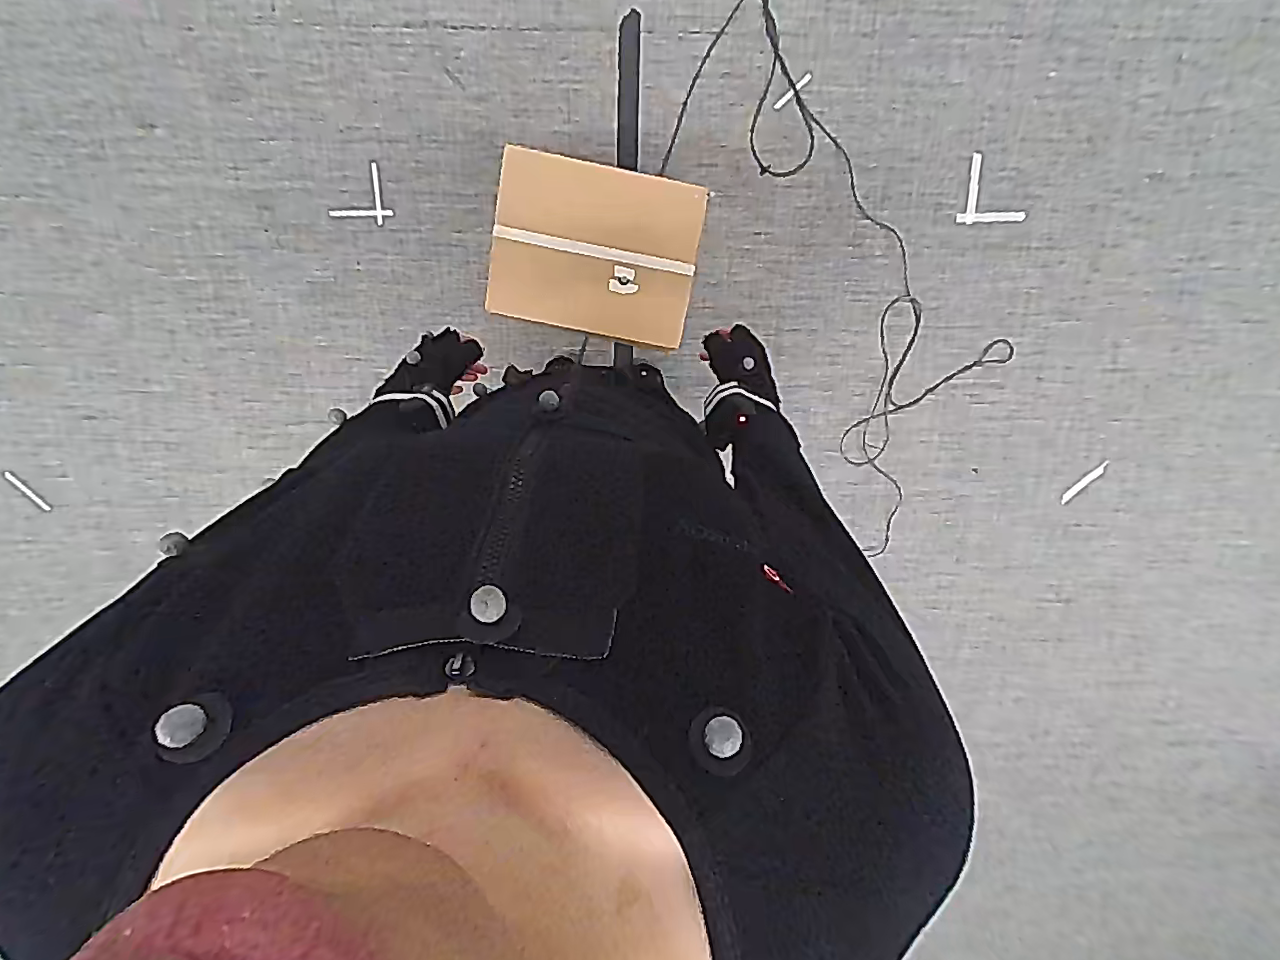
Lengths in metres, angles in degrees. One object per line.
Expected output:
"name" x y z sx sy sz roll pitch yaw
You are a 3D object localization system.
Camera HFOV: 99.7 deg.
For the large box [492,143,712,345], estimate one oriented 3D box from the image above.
"large box" -0.085 -0.495 1.212 0.408 0.320 0.320 10 102 -4
